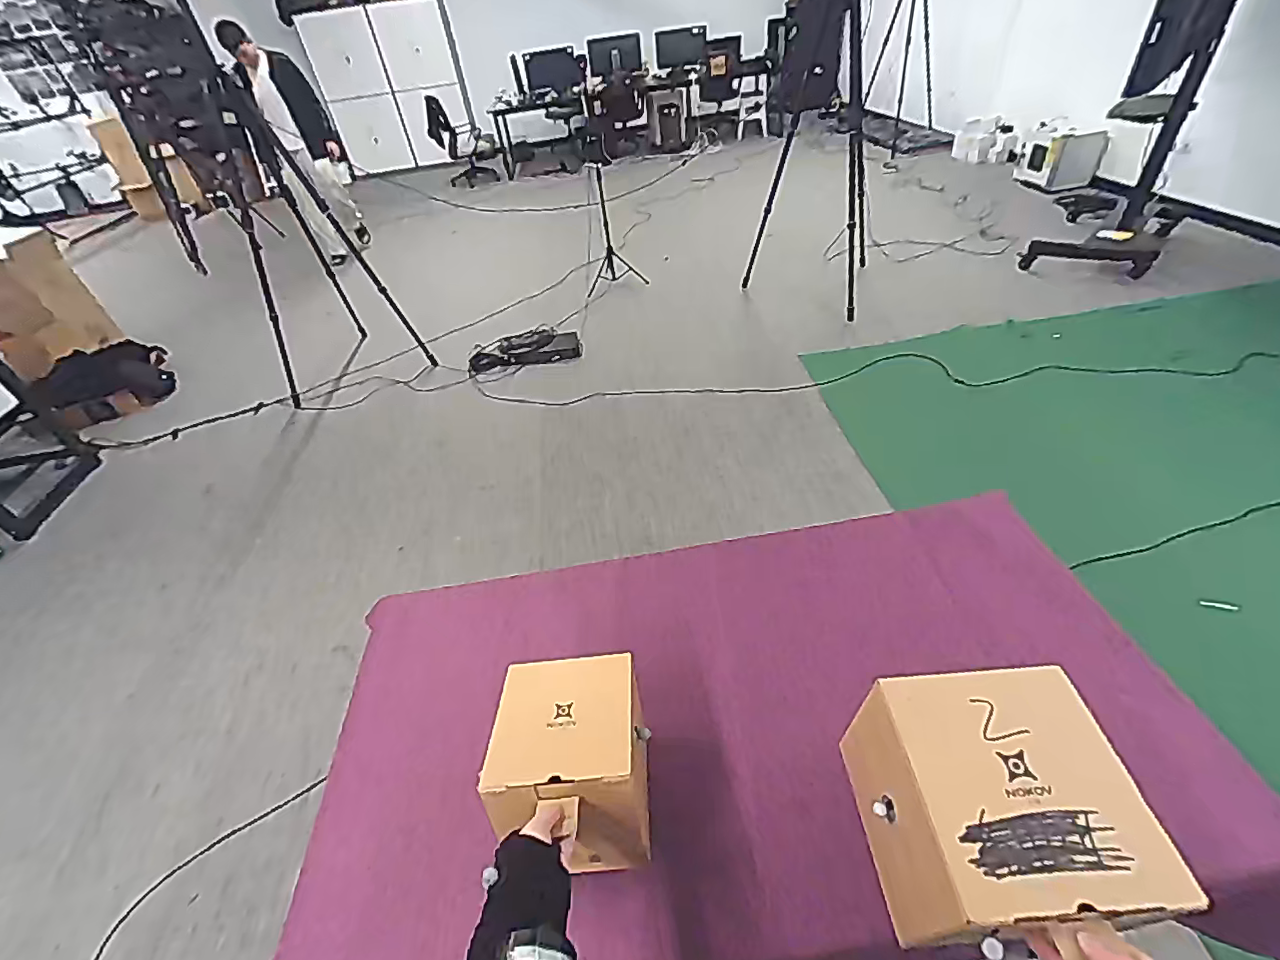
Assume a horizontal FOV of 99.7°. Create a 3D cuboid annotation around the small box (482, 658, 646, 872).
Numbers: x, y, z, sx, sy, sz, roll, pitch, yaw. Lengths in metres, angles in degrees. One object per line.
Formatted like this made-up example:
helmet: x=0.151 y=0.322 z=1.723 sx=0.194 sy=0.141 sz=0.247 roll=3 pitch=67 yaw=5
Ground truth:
small box: x=-0.083 y=0.357 z=0.690 sx=0.168 sy=0.176 sz=0.179 roll=-7 pitch=29 yaw=2
